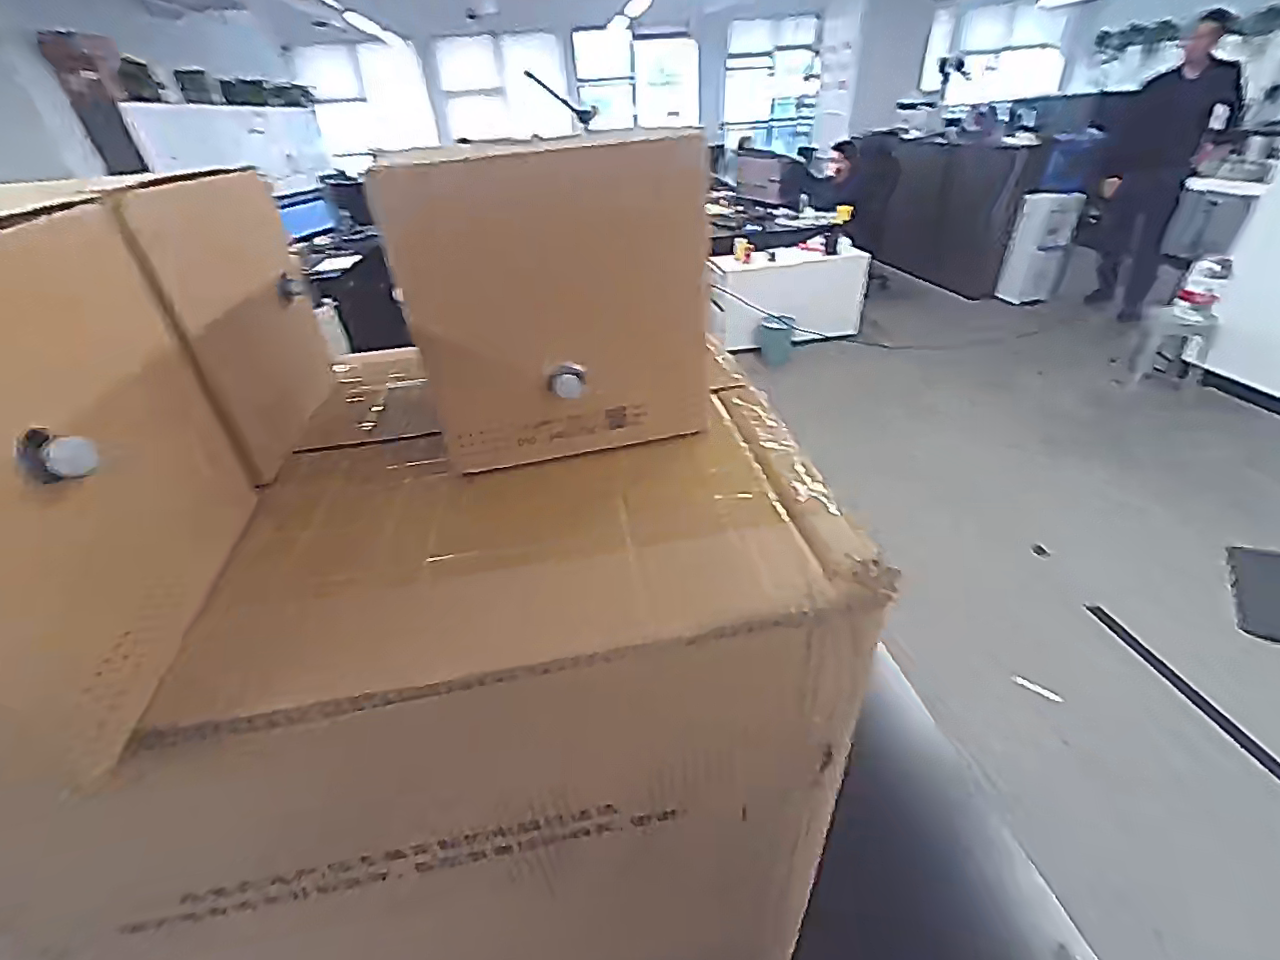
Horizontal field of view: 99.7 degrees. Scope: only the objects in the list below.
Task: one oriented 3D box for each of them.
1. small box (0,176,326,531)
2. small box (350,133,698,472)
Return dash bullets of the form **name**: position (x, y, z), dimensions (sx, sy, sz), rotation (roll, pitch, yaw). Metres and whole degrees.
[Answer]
- **small box**: position (-0.335, -0.091, 0.353), dimensions (0.168, 0.176, 0.179), rotation (-10, 35, -7)
- **small box**: position (-0.064, -0.127, 0.367), dimensions (0.168, 0.176, 0.179), rotation (-12, 34, -7)
